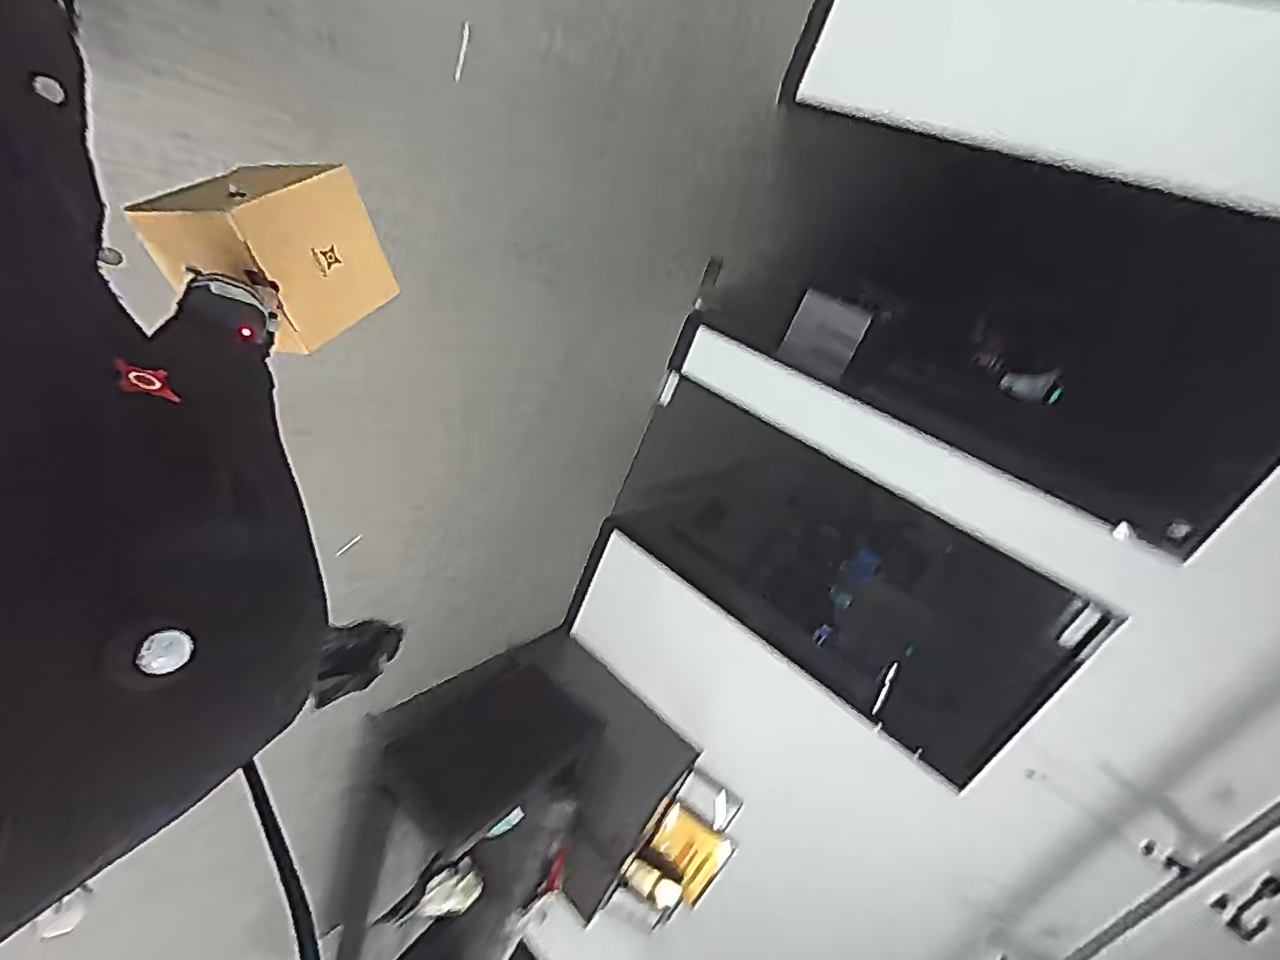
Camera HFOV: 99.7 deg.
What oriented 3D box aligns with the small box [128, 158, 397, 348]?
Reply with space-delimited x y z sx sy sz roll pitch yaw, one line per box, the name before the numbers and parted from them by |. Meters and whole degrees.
small box | -0.448 -0.285 0.665 0.168 0.176 0.179 83 25 -43
